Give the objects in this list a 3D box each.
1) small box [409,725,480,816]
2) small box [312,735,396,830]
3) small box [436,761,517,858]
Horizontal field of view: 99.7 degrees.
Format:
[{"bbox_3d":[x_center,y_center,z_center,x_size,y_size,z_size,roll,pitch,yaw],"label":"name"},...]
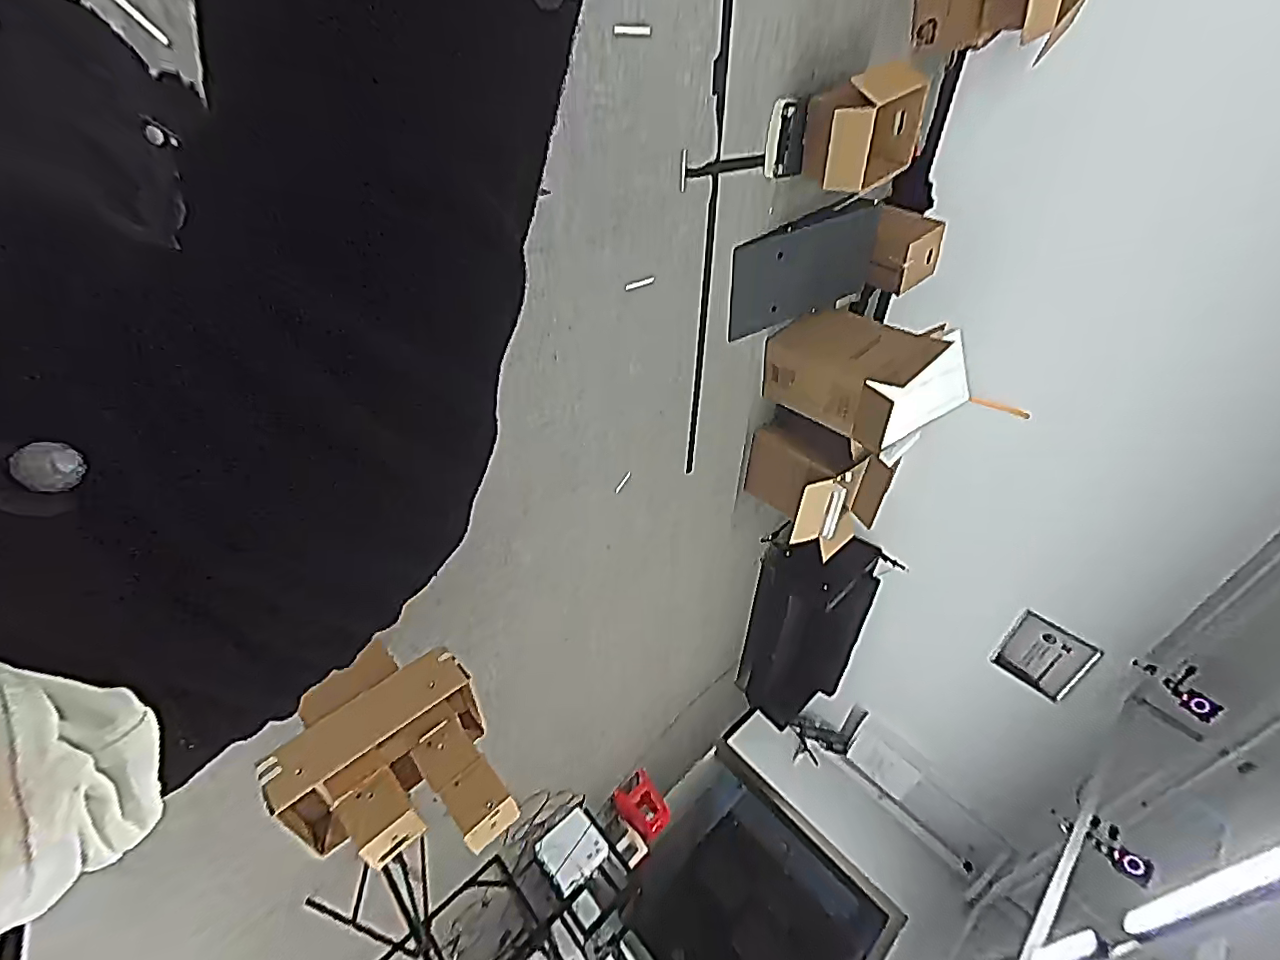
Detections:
[{"bbox_3d":[-0.623,0.941,1.763,0.168,0.176,0.179,-32,140,-31],"label":"small box"},{"bbox_3d":[-0.909,0.955,1.720,0.168,0.176,0.179,-29,138,-35],"label":"small box"},{"bbox_3d":[-0.505,1.016,1.676,0.168,0.176,0.179,-32,141,-31],"label":"small box"}]
